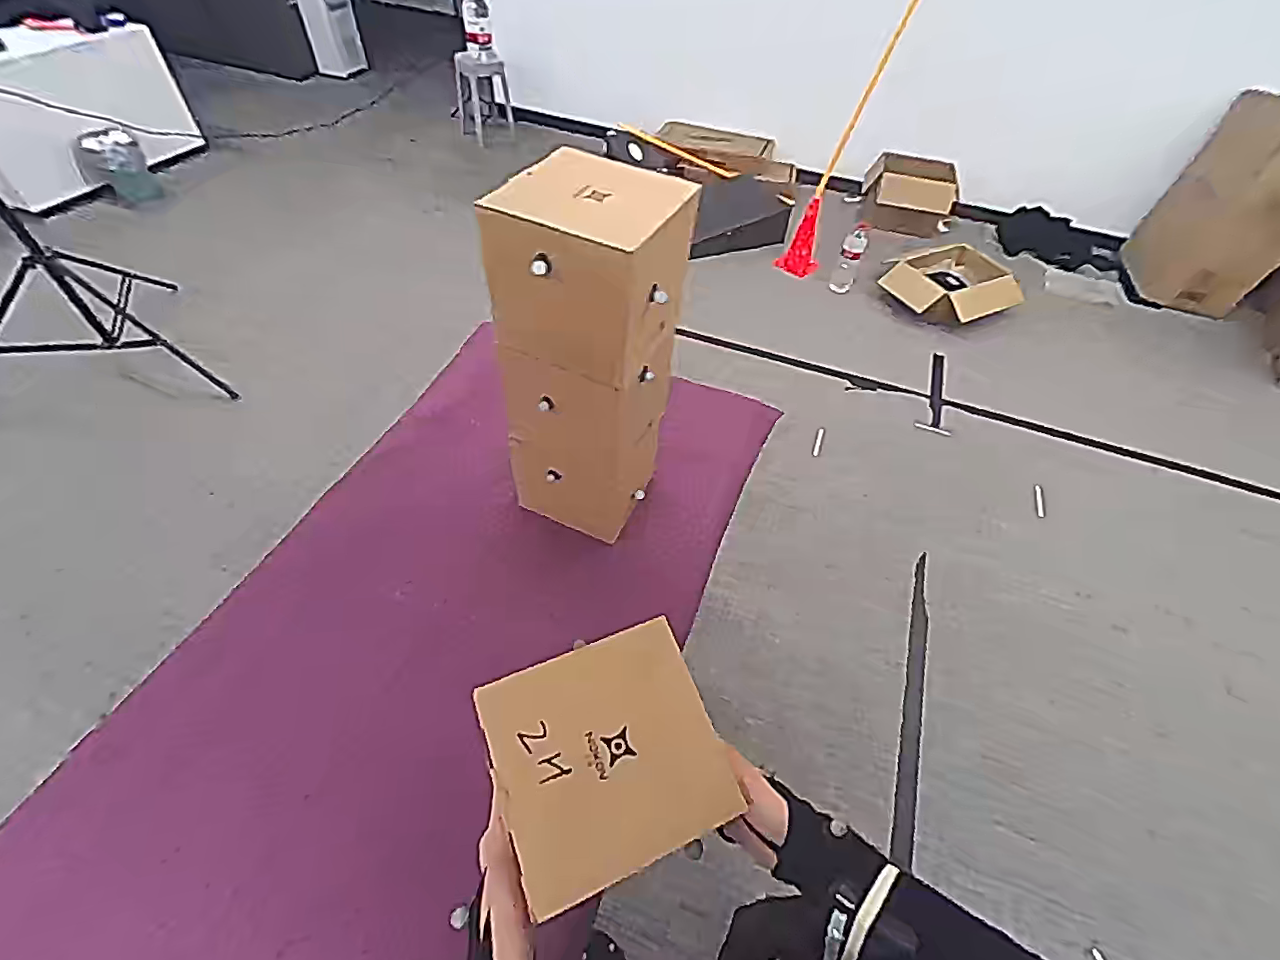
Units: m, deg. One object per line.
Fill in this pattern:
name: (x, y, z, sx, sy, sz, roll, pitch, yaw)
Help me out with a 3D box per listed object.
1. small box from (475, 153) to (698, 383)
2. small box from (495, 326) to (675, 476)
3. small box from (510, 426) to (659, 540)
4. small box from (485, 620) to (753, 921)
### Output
small box: (-0.053, -0.234, 0.613, 0.179, 0.176, 0.168, 22, 53, 14)
small box: (-0.069, -0.132, 0.740, 0.179, 0.176, 0.168, 22, 53, 14)
small box: (-0.083, -0.030, 0.868, 0.179, 0.176, 0.168, 21, 53, 12)
small box: (-0.030, 0.252, 0.497, 0.179, 0.176, 0.168, -17, 64, -17)
